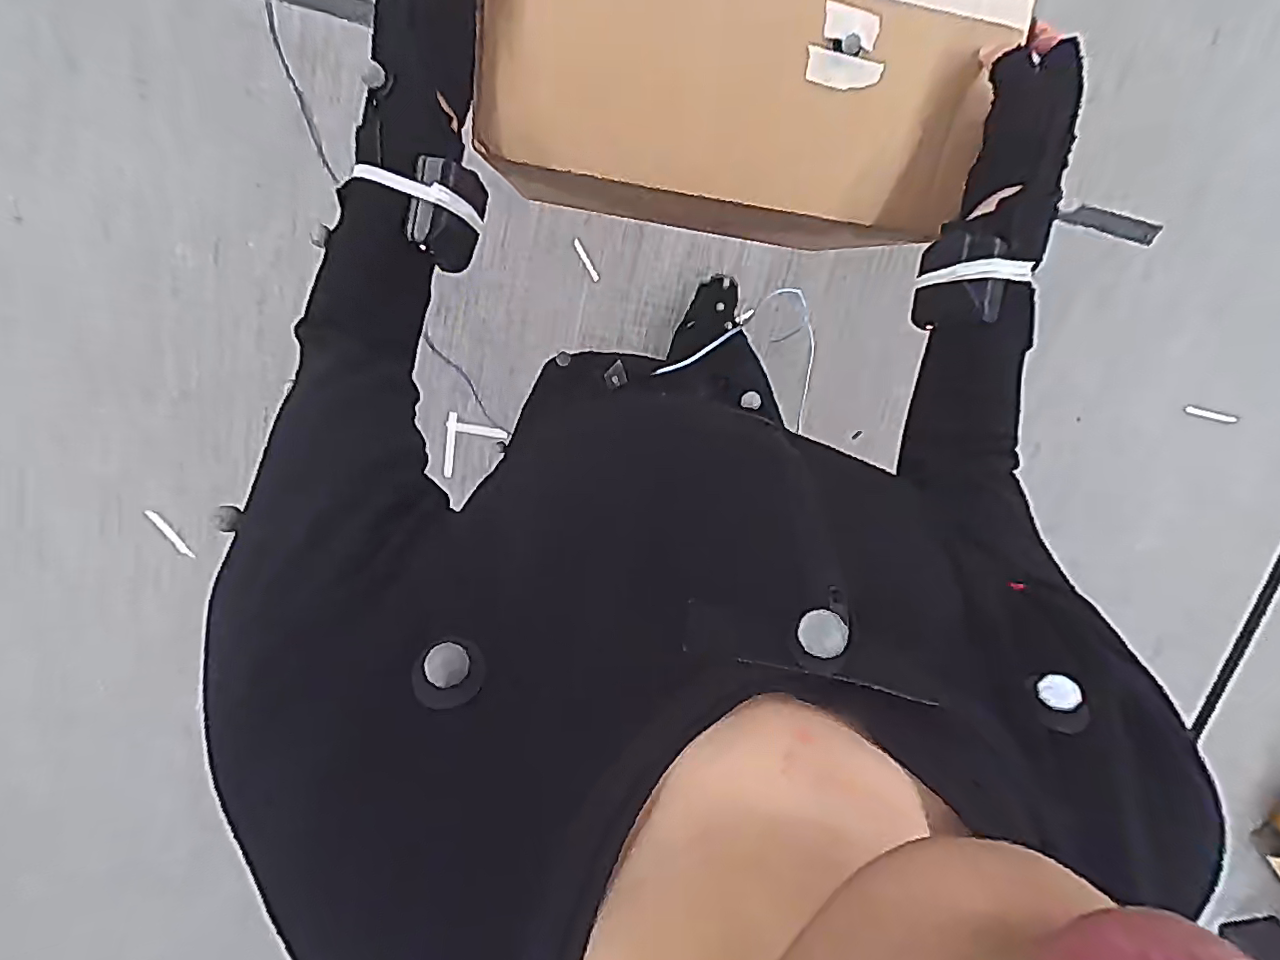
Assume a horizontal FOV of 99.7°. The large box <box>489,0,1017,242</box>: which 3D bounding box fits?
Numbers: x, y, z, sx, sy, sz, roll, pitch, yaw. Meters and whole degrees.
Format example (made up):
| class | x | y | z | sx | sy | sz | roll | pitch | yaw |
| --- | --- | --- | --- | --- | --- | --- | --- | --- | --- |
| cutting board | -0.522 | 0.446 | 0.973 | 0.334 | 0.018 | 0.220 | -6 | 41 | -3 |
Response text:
| class | x | y | z | sx | sy | sz | roll | pitch | yaw |
| --- | --- | --- | --- | --- | --- | --- | --- | --- | --- |
| large box | 0.081 | -0.436 | 0.535 | 0.408 | 0.320 | 0.320 | 6 | 111 | -8 |
